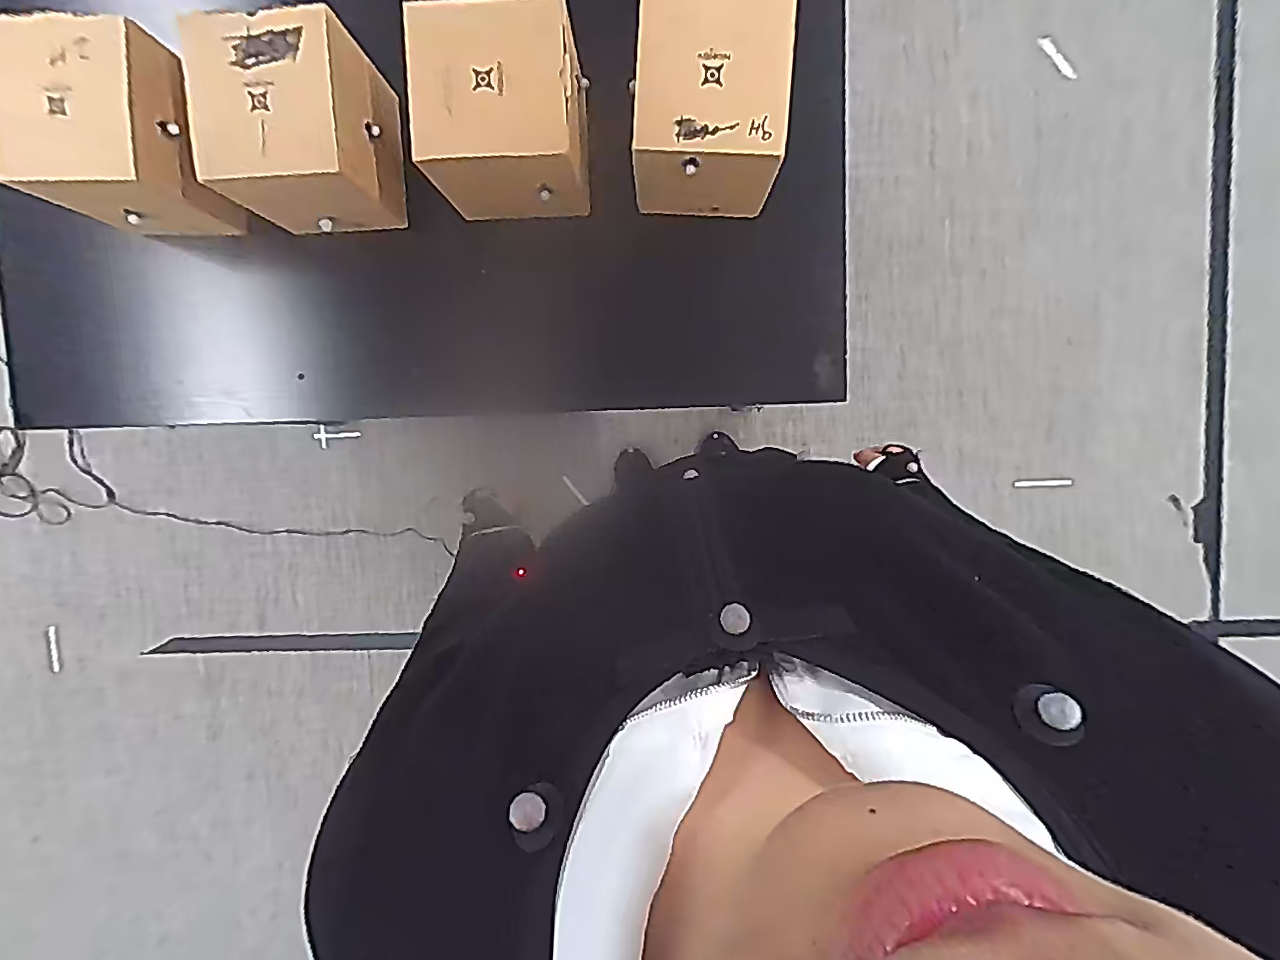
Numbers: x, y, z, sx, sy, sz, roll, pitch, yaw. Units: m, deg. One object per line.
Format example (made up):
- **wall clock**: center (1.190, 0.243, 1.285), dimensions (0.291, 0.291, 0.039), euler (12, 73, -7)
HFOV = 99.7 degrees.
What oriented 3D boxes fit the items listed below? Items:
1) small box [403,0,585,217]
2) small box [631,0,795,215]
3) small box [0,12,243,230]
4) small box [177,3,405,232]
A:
- **small box**: center (-0.162, -0.440, 0.660), dimensions (0.179, 0.176, 0.168), euler (-2, 94, 3)
- **small box**: center (0.079, -0.446, 0.649), dimensions (0.168, 0.176, 0.179), euler (4, 94, 2)
- **small box**: center (-0.635, -0.428, 0.674), dimensions (0.168, 0.176, 0.179), euler (1, 95, 1)
- **small box**: center (-0.411, -0.429, 0.667), dimensions (0.168, 0.176, 0.179), euler (-3, 96, 1)
